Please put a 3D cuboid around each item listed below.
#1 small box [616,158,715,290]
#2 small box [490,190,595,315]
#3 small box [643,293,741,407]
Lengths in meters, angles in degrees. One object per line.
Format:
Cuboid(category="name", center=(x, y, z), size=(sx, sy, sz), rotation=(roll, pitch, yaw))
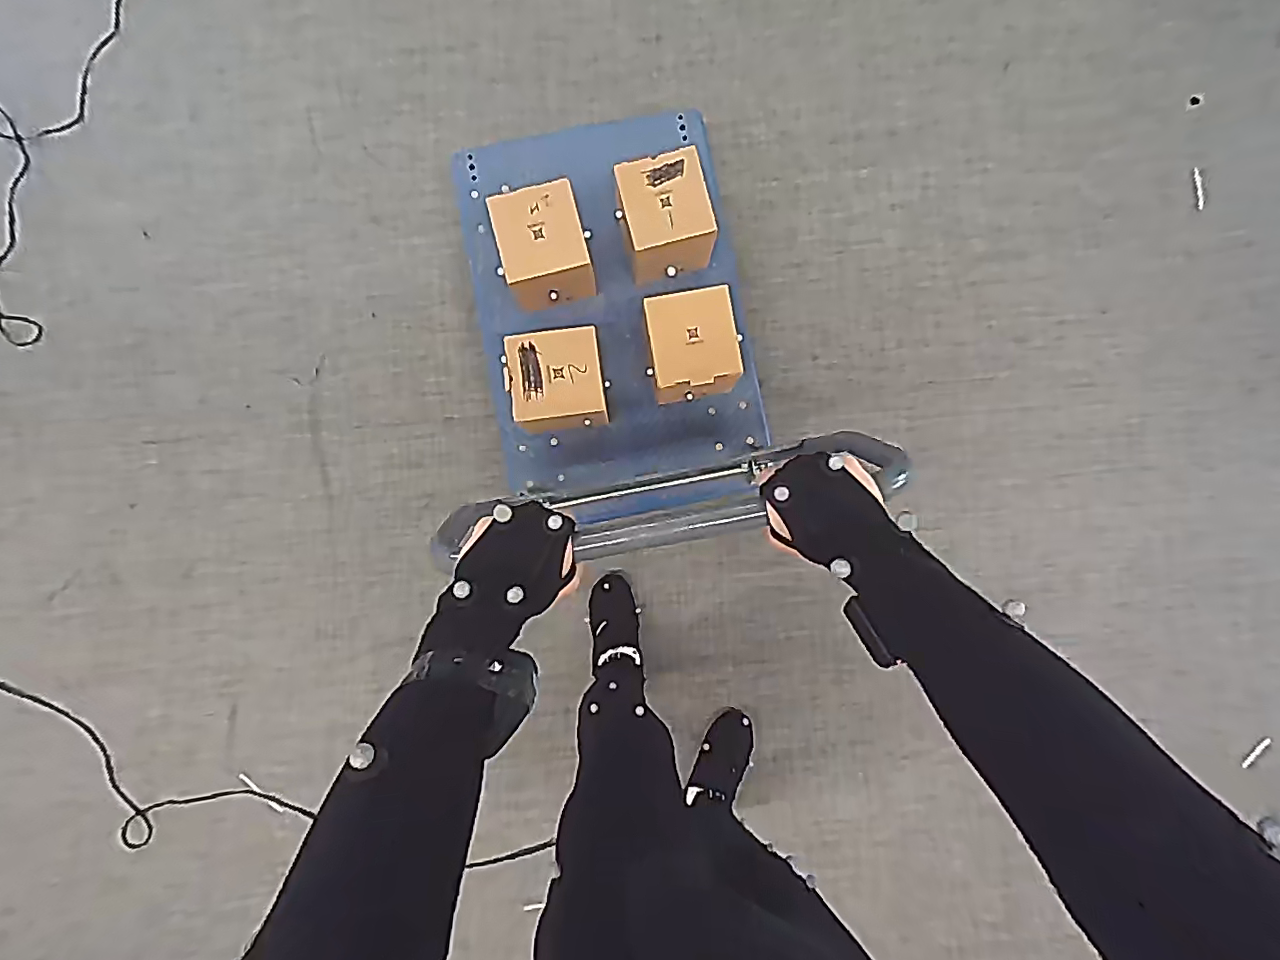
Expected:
Cuboid(category="small box", center=(0.048, -0.529, 1.138), size=(0.168, 0.176, 0.179), rotation=(-14, 88, 0))
Cuboid(category="small box", center=(-0.195, -0.464, 1.134), size=(0.168, 0.176, 0.179), rotation=(-15, 87, -2))
Cuboid(category="small box", center=(0.101, -0.264, 1.126), size=(0.168, 0.176, 0.179), rotation=(-10, 88, -1))
